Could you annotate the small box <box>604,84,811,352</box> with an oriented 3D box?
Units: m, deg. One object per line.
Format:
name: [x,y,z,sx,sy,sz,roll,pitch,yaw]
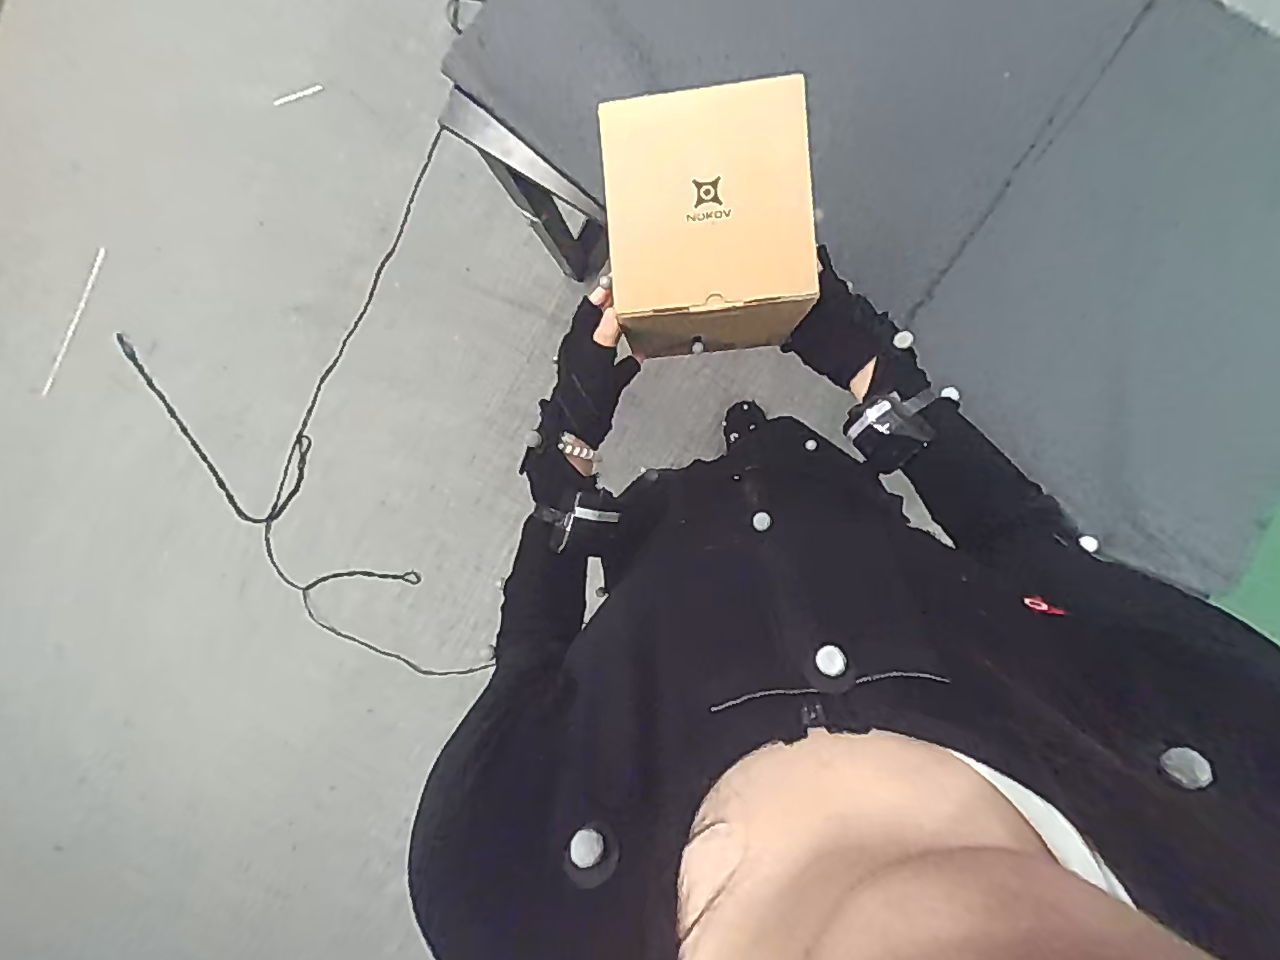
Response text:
small box: [0.060,-0.234,0.527,0.168,0.176,0.179,-4,92,5]
